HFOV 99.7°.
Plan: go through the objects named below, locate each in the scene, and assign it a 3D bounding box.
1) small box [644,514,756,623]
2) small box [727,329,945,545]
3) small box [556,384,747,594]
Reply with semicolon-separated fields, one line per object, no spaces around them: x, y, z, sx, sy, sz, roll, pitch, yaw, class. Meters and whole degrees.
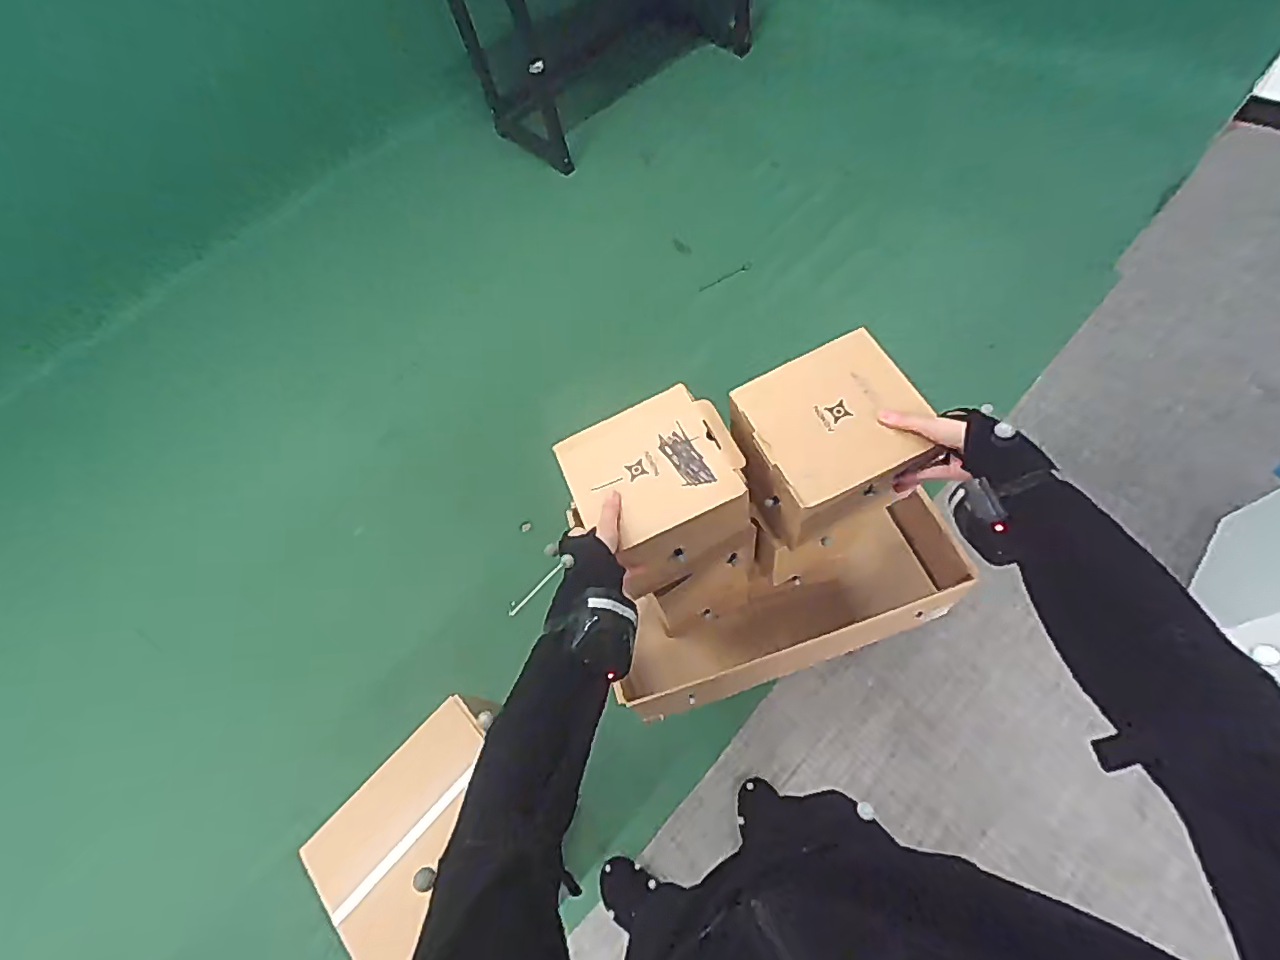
0.062;0.096;0.852;0.179;0.176;0.168;-34;60;-9;small box
0.224;-0.042;0.663;0.179;0.176;0.168;-26;64;-1;small box
0.021;0.019;0.679;0.179;0.176;0.168;-26;60;0;small box
